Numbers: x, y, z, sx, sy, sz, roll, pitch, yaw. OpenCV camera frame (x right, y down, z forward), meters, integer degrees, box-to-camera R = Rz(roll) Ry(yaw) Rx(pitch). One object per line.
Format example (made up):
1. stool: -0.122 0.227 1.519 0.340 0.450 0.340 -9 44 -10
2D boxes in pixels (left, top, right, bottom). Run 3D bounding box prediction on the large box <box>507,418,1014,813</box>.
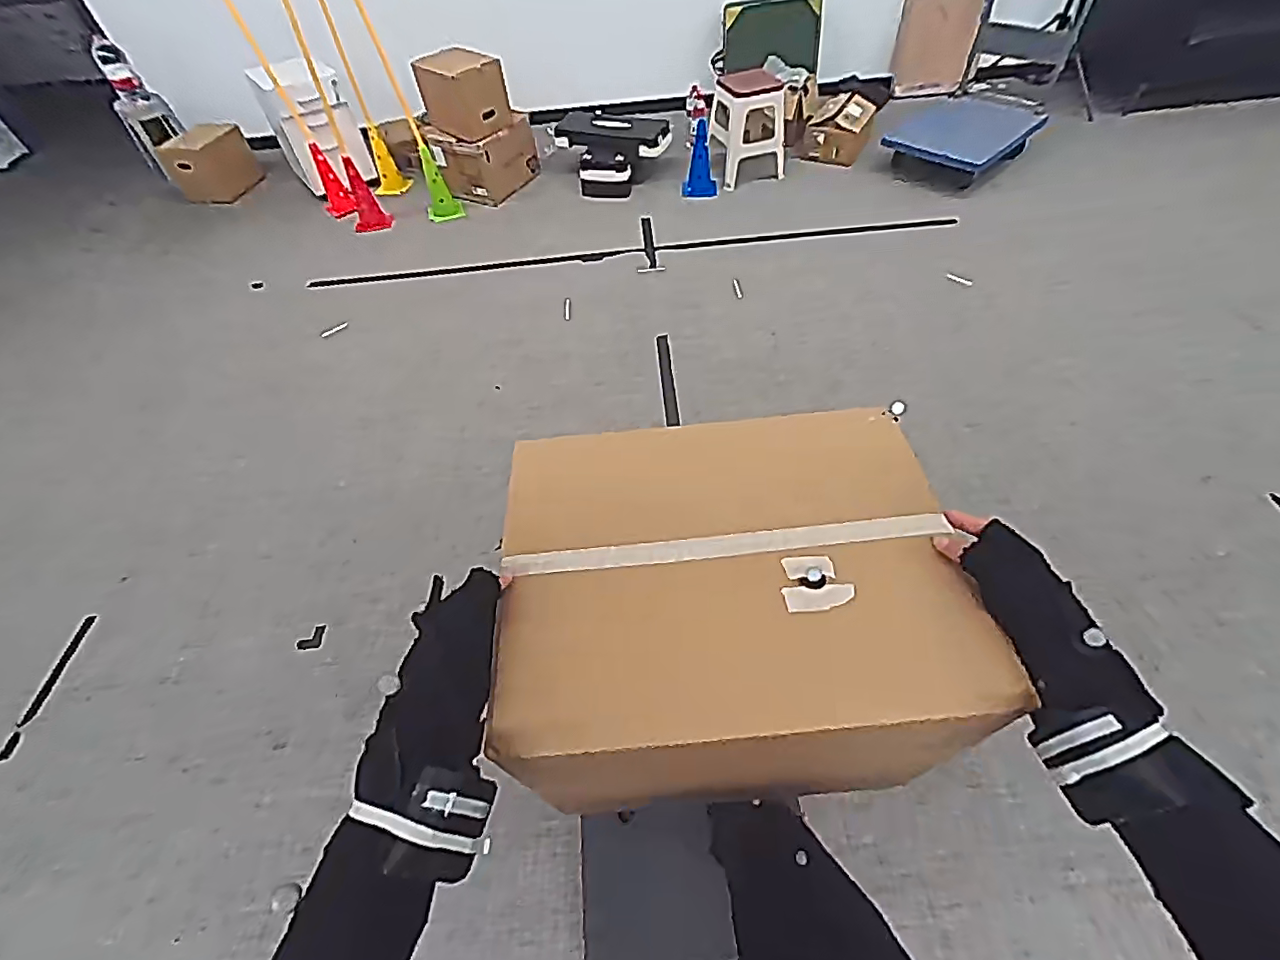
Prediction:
1. large box: 0.088 0.162 0.620 0.408 0.320 0.320 -5 51 0
